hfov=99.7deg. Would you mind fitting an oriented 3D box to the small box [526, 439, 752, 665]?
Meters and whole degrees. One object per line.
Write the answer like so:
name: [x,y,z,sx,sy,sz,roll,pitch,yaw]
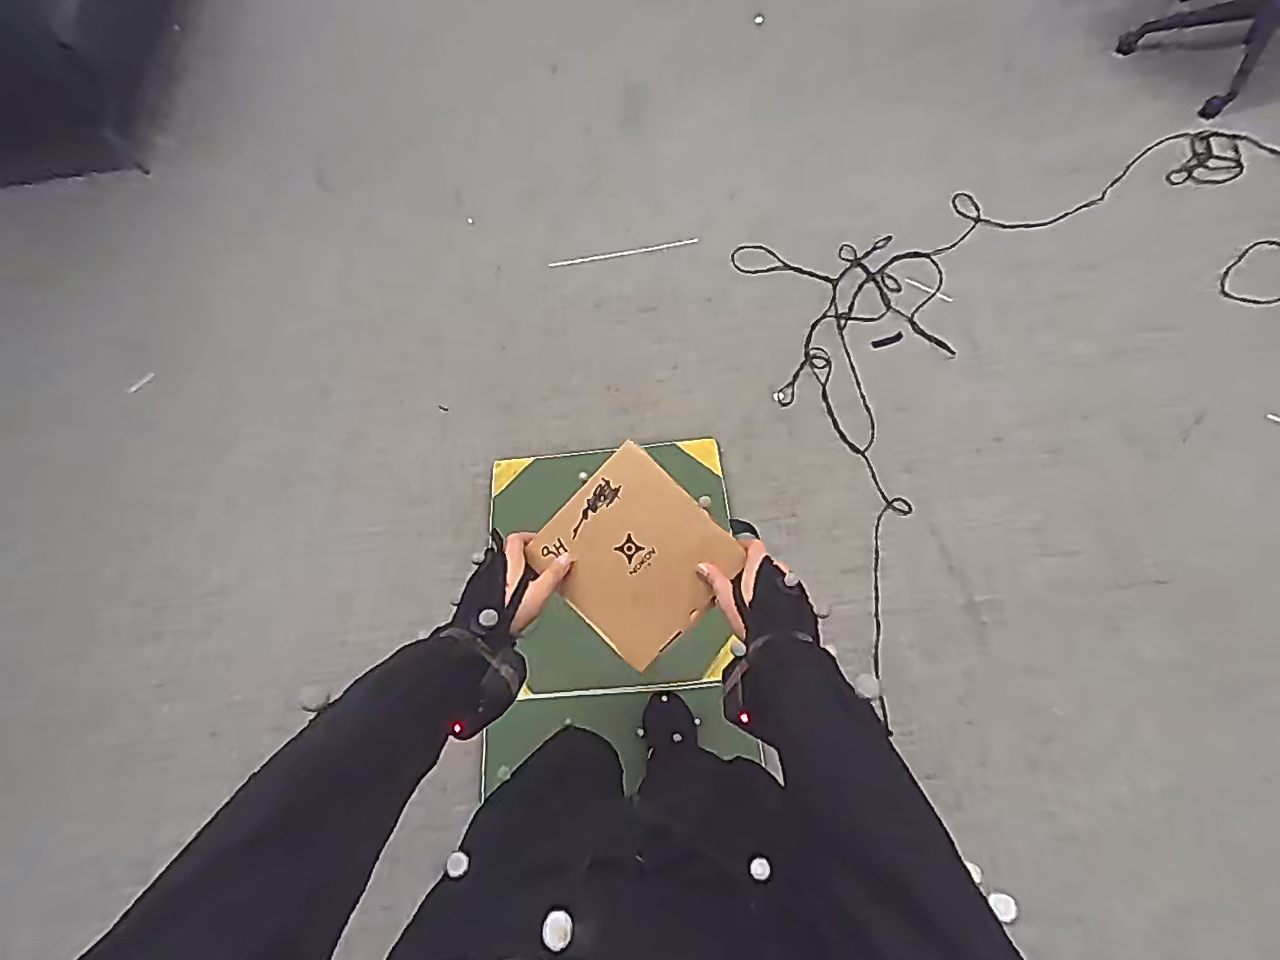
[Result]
small box: [0.004,0.074,0.629,0.179,0.176,0.168,44,91,5]
